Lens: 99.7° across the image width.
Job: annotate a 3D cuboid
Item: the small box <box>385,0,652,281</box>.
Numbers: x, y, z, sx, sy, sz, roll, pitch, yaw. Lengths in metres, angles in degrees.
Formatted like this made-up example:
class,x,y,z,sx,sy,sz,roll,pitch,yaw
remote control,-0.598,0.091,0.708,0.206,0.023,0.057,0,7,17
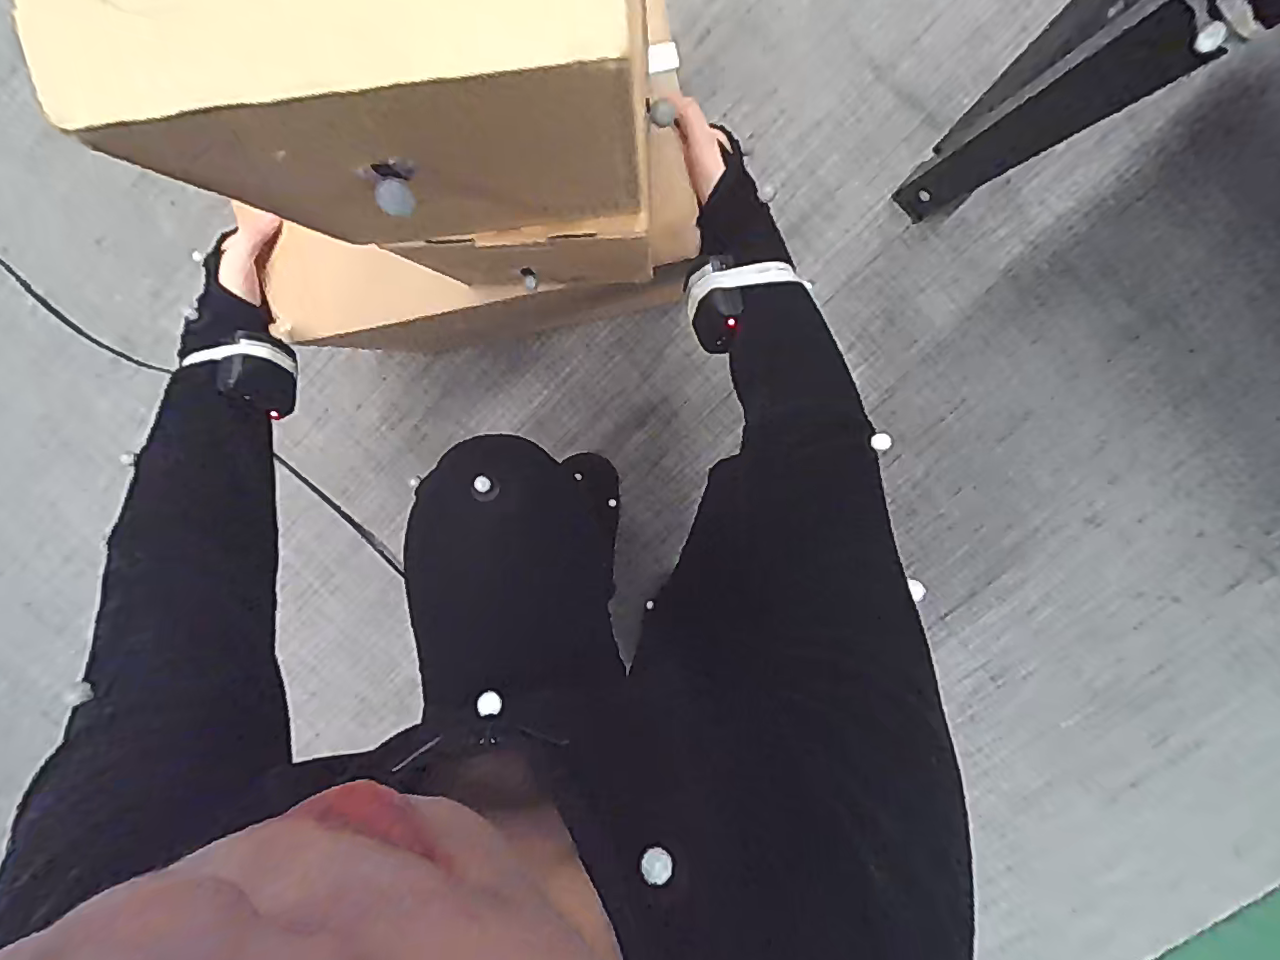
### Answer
class,x,y,z,sx,sy,sz,roll,pitch,yaw
small box,-0.075,-0.245,0.382,0.168,0.176,0.179,-1,104,2

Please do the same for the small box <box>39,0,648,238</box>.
class,x,y,z,sx,sy,sz,roll,pitch,yaw
small box,-0.092,-0.207,0.221,0.179,0.176,0.168,-5,105,3
